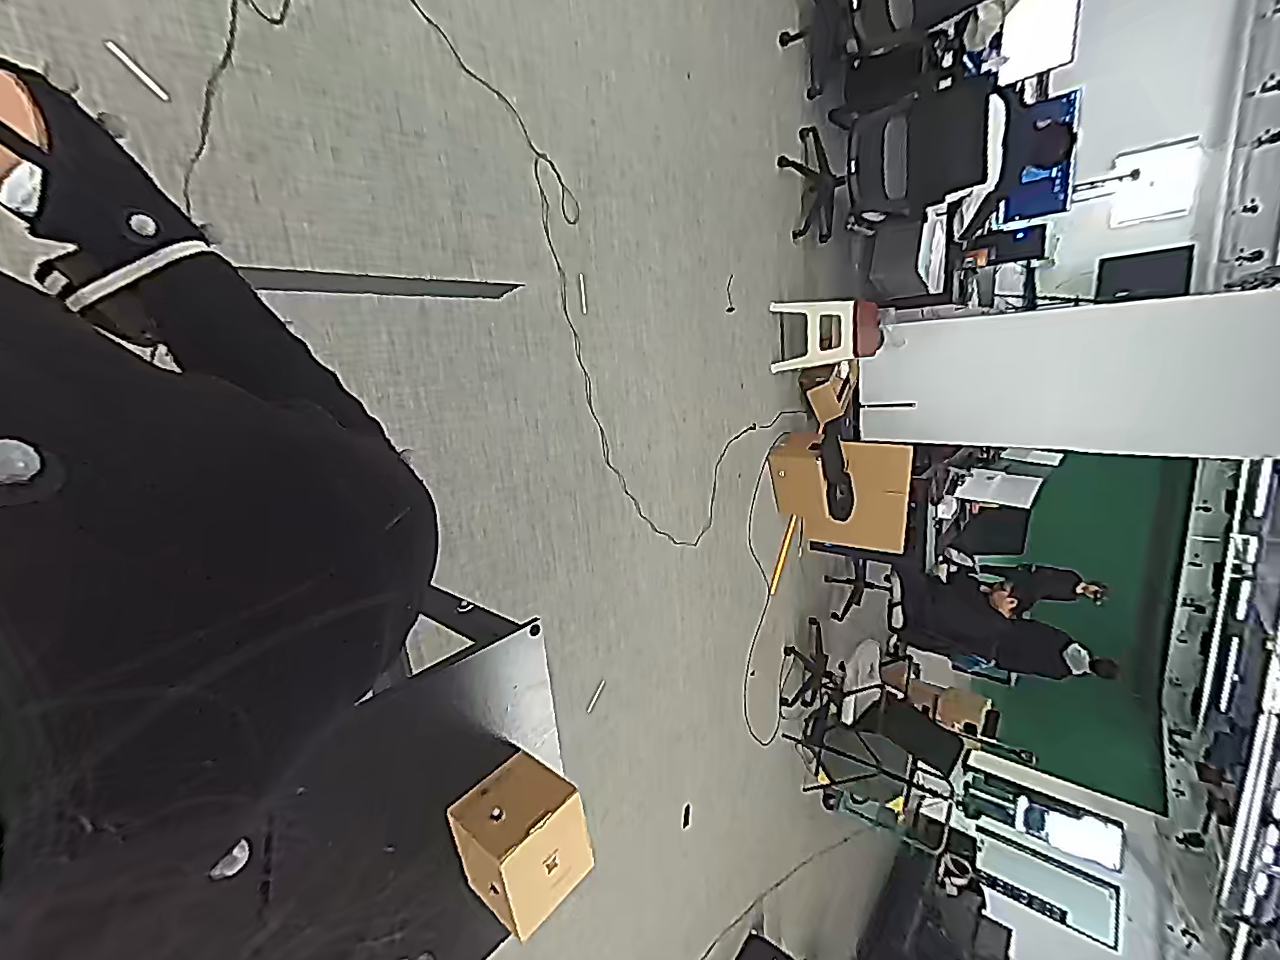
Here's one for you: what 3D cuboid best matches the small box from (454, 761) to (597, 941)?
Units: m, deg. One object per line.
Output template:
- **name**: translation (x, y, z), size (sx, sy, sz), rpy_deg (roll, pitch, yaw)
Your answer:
- **small box**: translation (-0.203, 0.632, 0.954), size (0.168, 0.176, 0.179), rpy_deg (-25, 114, -43)
